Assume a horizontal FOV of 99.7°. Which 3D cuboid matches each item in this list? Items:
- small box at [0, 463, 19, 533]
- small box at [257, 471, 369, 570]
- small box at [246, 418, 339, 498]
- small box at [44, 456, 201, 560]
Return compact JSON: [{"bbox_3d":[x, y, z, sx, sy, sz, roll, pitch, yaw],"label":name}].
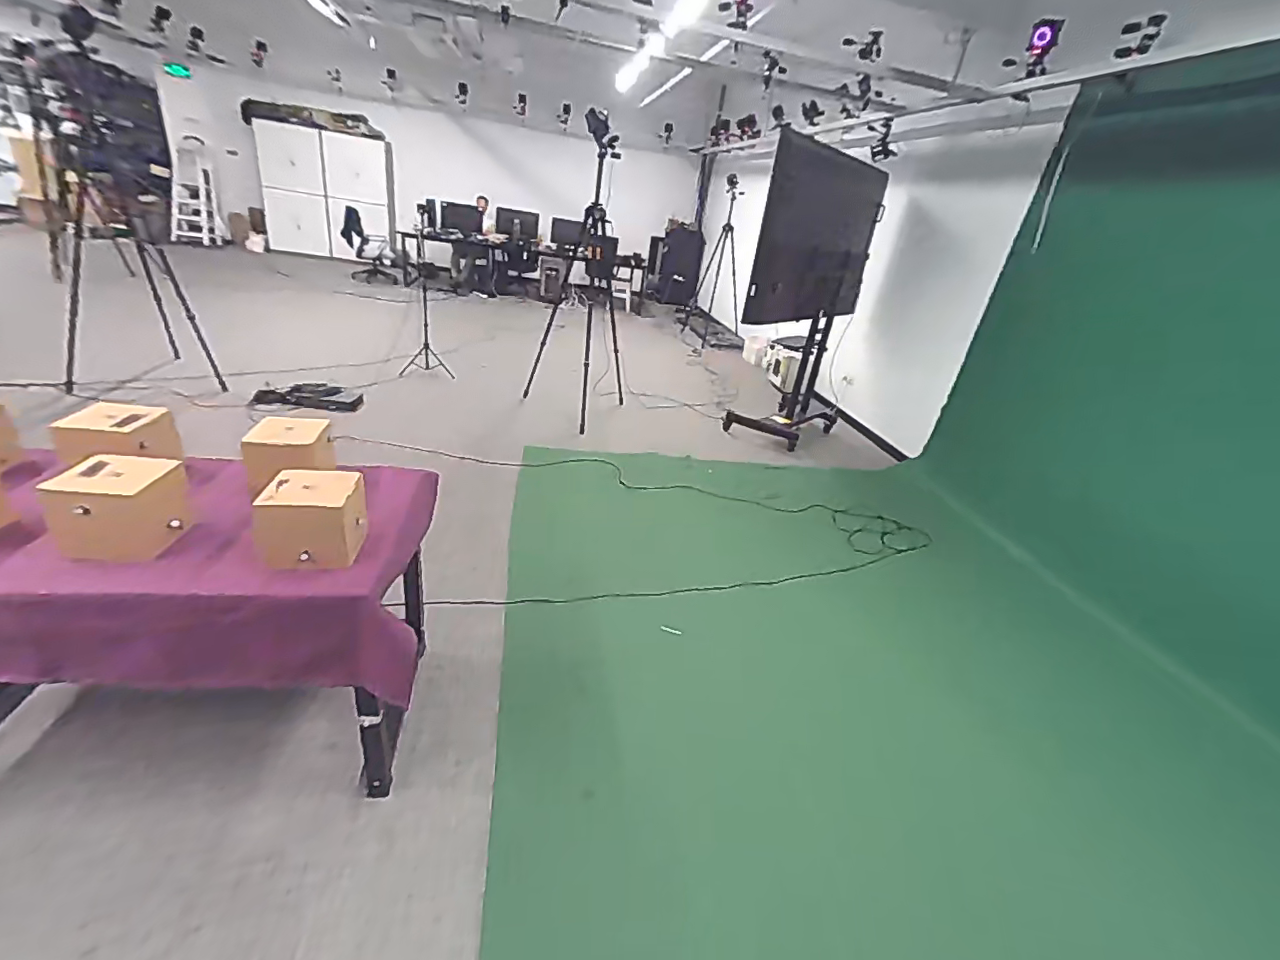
[{"bbox_3d":[-1.471,0.048,1.114,0.179,0.176,0.168,5,27,-11],"label":"small box"},{"bbox_3d":[-0.743,0.094,1.254,0.179,0.176,0.168,3,27,-12],"label":"small box"},{"bbox_3d":[-0.946,-0.058,1.489,0.168,0.176,0.179,2,28,-13],"label":"small box"},{"bbox_3d":[-1.128,0.062,1.196,0.179,0.176,0.168,6,27,-9],"label":"small box"}]
